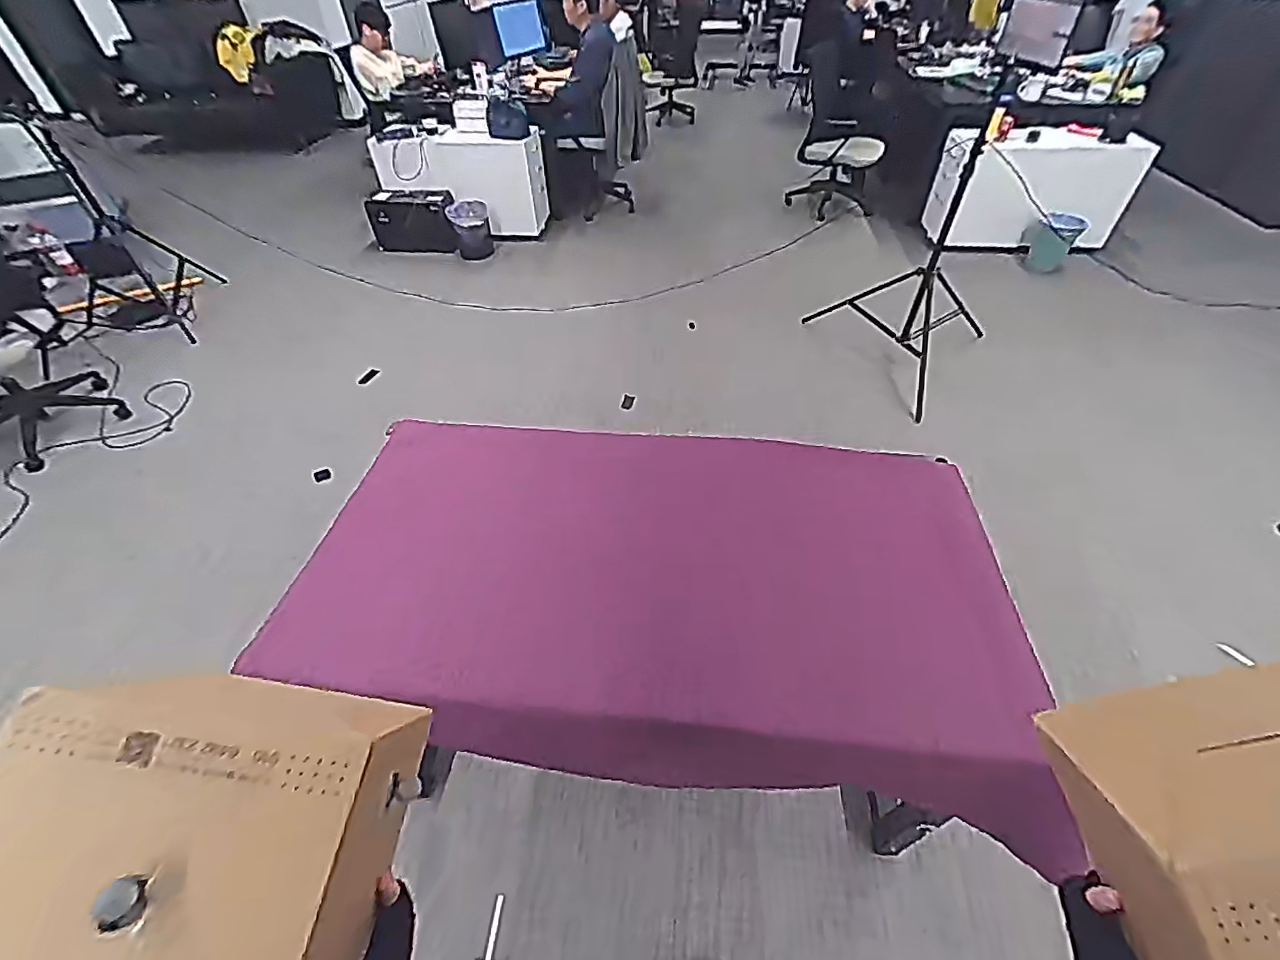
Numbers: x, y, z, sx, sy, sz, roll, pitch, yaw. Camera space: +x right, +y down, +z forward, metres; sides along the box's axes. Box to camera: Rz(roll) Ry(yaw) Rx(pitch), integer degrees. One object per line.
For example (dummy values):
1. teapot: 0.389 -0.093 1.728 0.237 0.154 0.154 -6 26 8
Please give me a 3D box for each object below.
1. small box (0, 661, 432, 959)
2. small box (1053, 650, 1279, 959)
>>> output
1. small box: -0.240 0.205 0.317 0.168 0.179 0.176 13 70 -6
2. small box: 0.354 0.205 0.271 0.168 0.179 0.176 -22 82 18
